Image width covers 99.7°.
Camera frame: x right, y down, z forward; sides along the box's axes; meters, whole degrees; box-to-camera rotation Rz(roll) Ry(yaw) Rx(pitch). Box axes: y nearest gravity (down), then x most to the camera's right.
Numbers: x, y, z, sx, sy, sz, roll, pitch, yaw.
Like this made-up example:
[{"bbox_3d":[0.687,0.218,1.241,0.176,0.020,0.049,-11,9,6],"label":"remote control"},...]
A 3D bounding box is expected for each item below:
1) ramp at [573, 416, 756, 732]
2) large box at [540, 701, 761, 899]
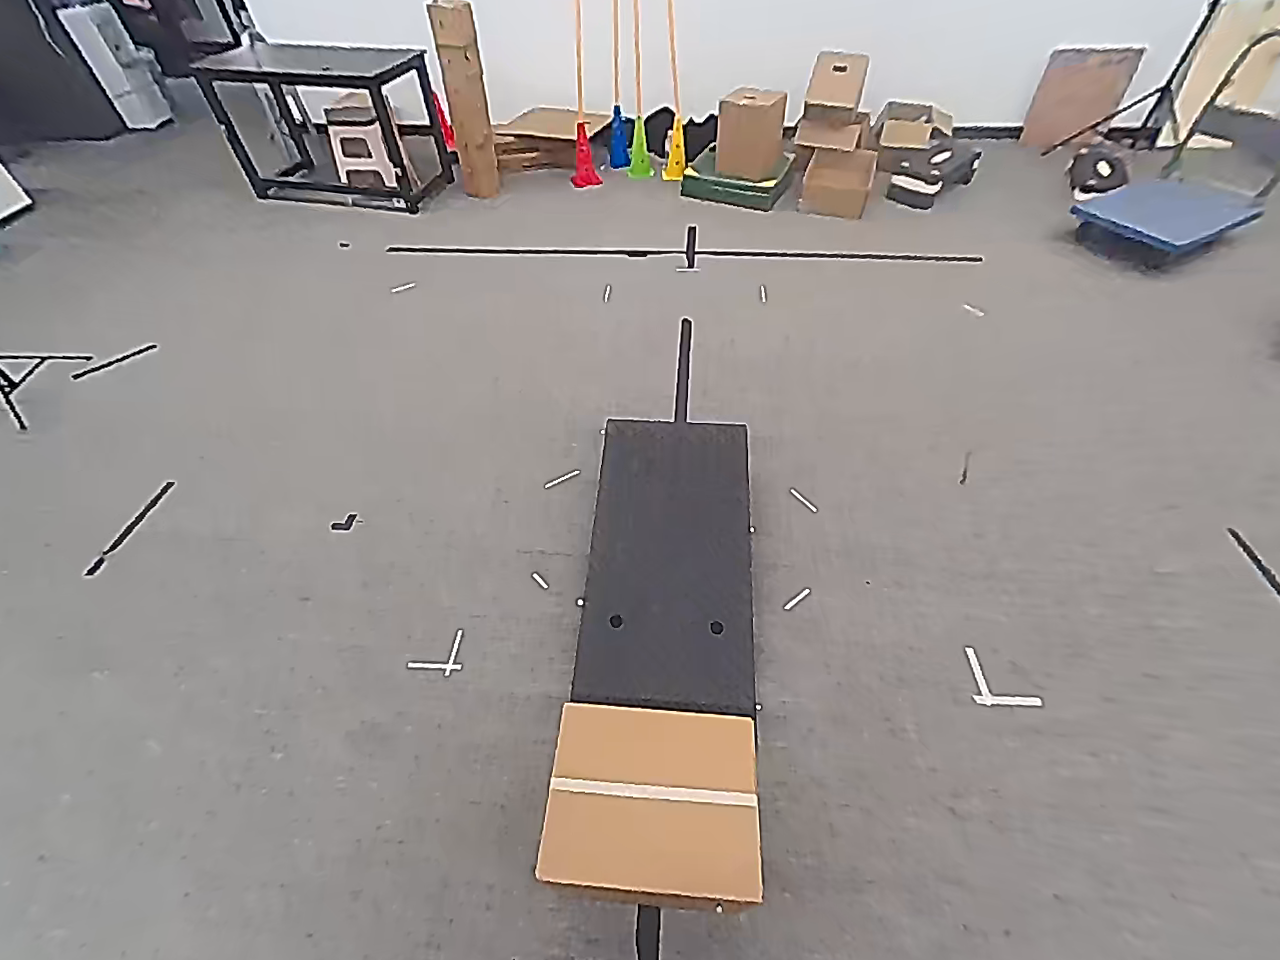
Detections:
[{"bbox_3d":[0.097,0.218,1.652,0.509,0.206,0.991,2,50,2],"label":"ramp"},{"bbox_3d":[0.031,0.698,1.174,0.408,0.320,0.320,3,49,4],"label":"large box"}]
